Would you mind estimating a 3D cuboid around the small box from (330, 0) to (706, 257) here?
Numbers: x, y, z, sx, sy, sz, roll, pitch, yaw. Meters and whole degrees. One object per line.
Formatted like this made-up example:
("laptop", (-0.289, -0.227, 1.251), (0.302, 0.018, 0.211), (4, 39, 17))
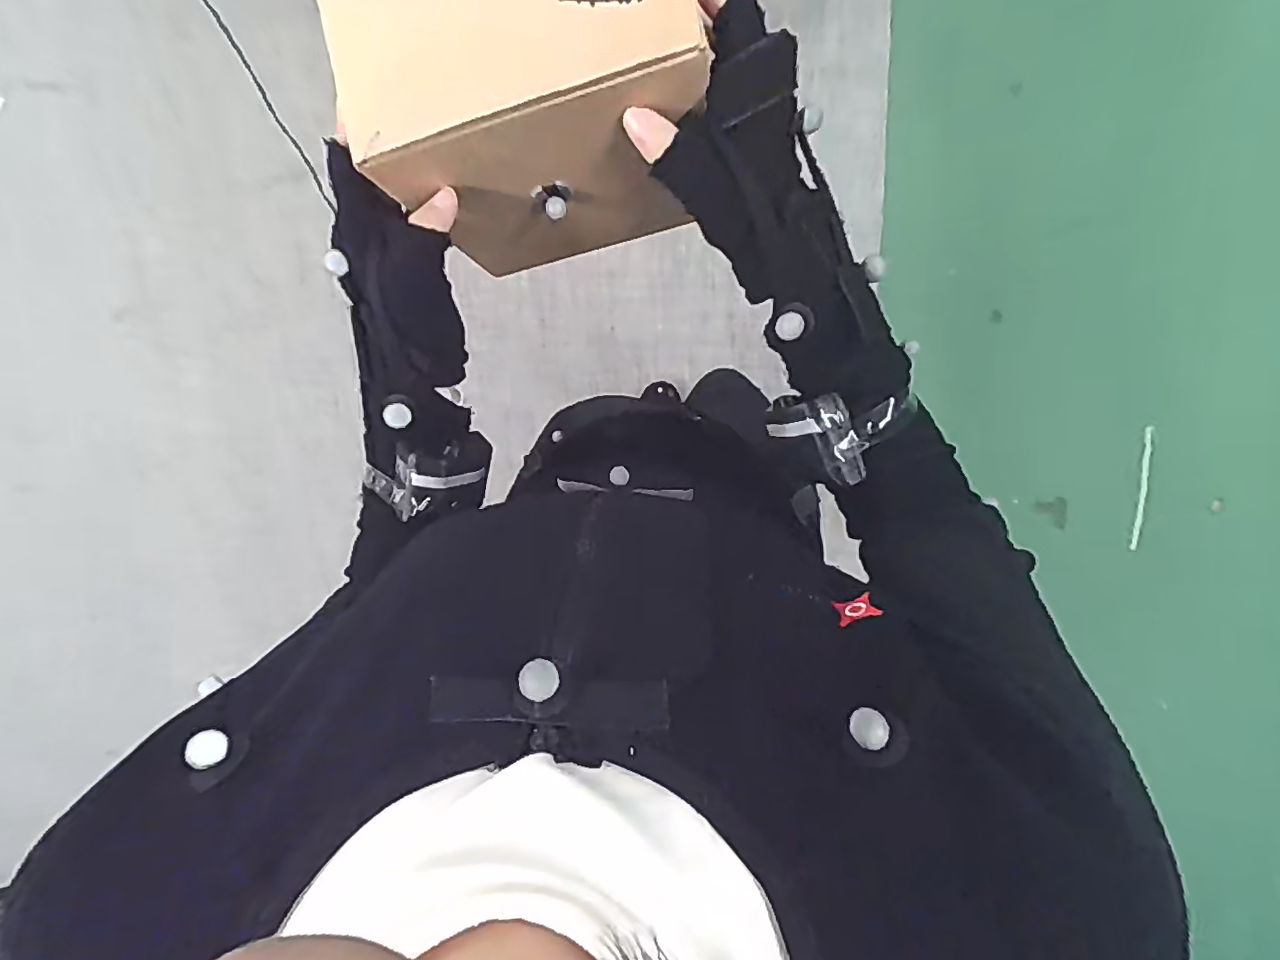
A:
("small box", (-0.059, -0.264, 0.333), (0.179, 0.176, 0.168), (-12, 90, 10))
